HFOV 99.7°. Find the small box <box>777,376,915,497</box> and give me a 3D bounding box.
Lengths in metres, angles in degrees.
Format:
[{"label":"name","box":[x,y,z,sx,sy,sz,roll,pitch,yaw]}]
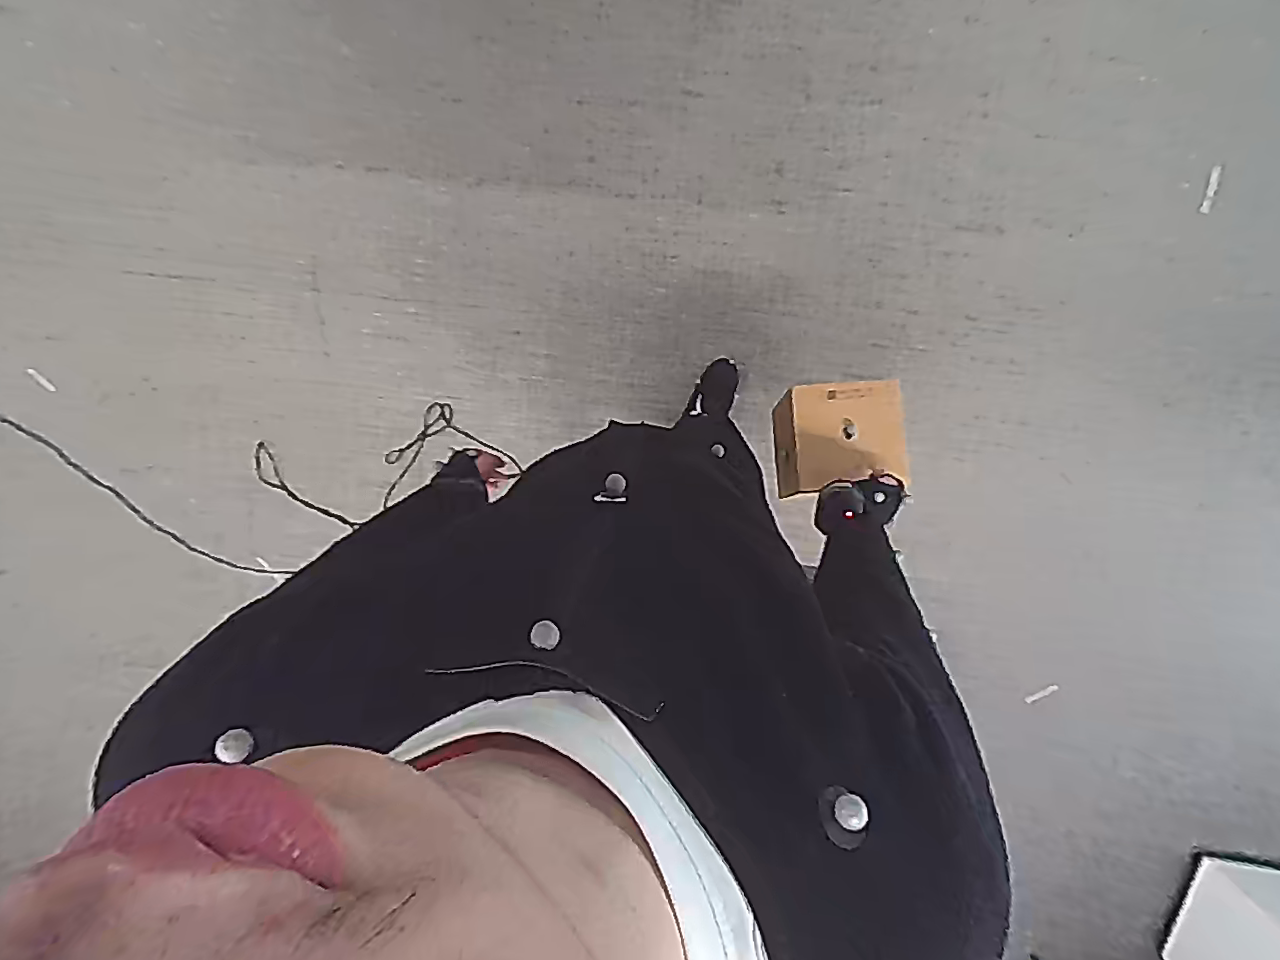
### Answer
[{"label":"small box","box":[0.329,-0.069,0.897,0.168,0.179,0.176,-6,85,6]}]
